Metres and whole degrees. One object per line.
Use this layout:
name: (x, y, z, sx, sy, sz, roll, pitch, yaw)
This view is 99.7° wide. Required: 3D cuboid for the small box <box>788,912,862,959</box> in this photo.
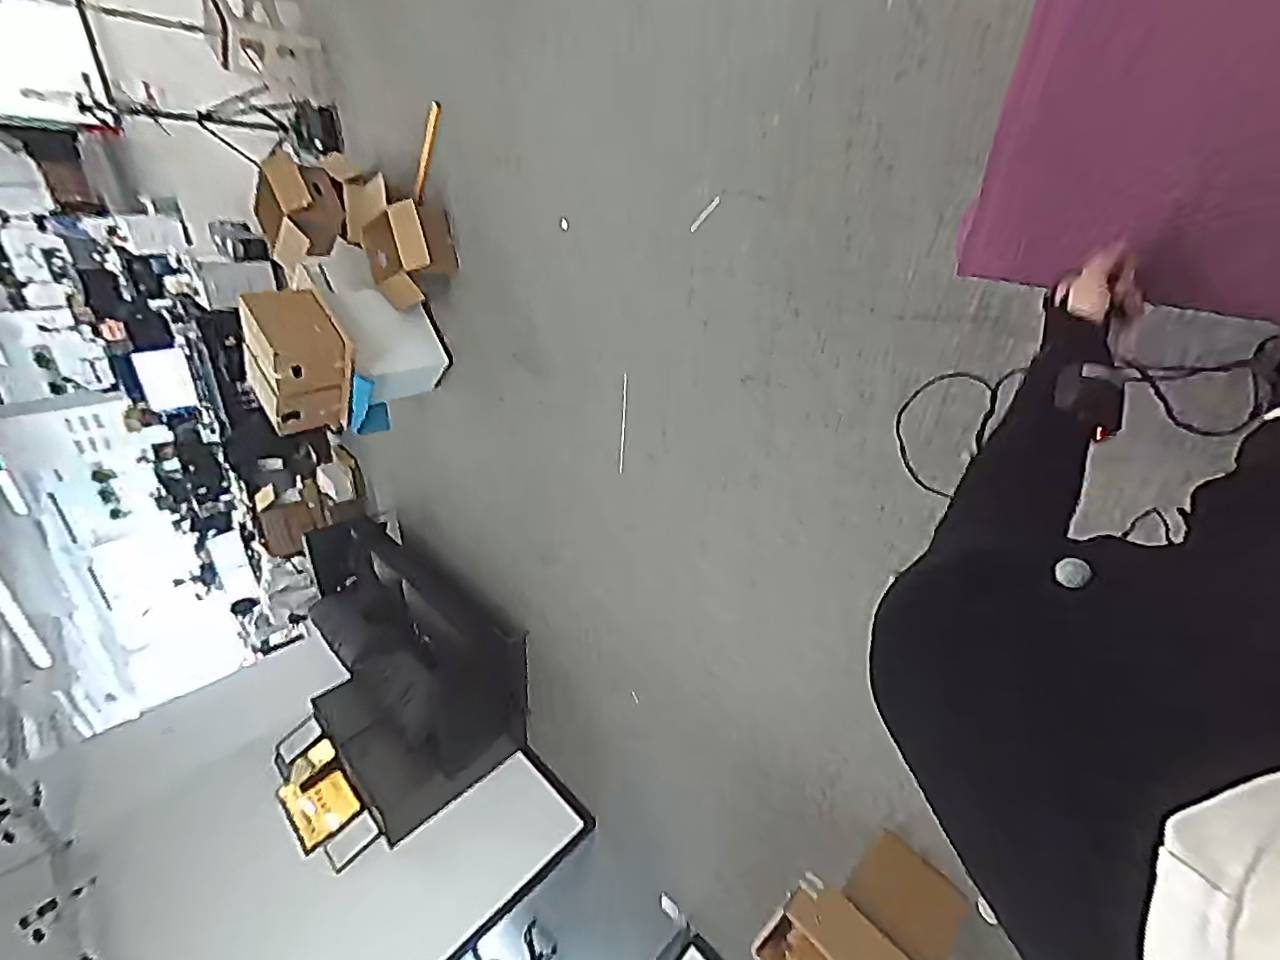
small box: (0.607, 1.596, 1.789, 0.168, 0.176, 0.179, 33, 128, 30)
